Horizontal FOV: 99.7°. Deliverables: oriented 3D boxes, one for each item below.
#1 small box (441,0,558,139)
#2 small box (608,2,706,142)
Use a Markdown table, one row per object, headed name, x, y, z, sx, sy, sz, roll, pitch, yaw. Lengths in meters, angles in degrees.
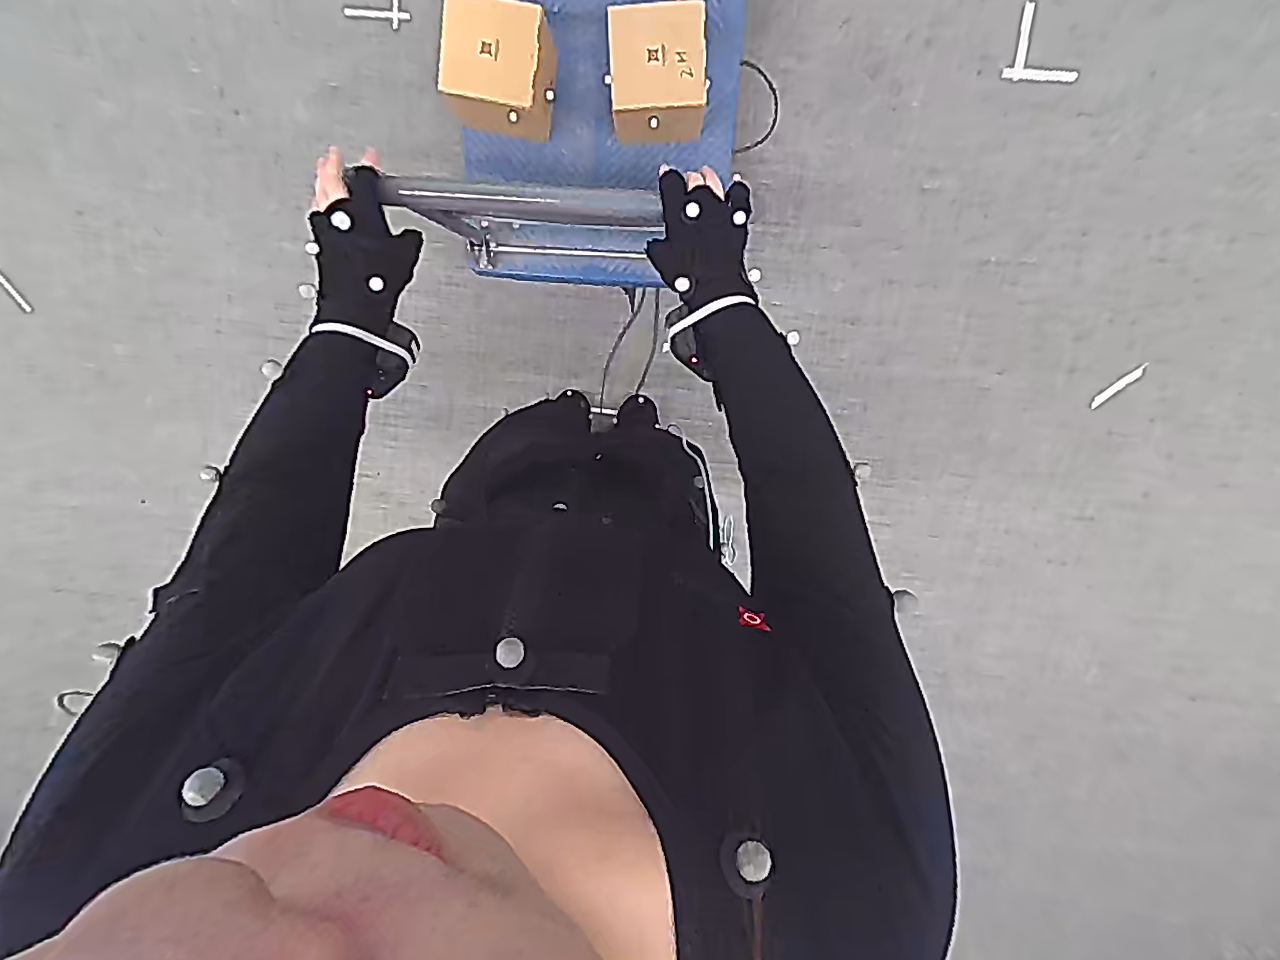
| name | x | y | z | sx | sy | sz | roll | pitch | yaw |
| --- | --- | --- | --- | --- | --- | --- | --- | --- | --- |
| small box | -0.268 | -0.798 | 1.058 | 0.179 | 0.176 | 0.168 | 9 | 103 | -3 |
| small box | 0.035 | -0.782 | 1.055 | 0.179 | 0.176 | 0.168 | -2 | 103 | 2 |
